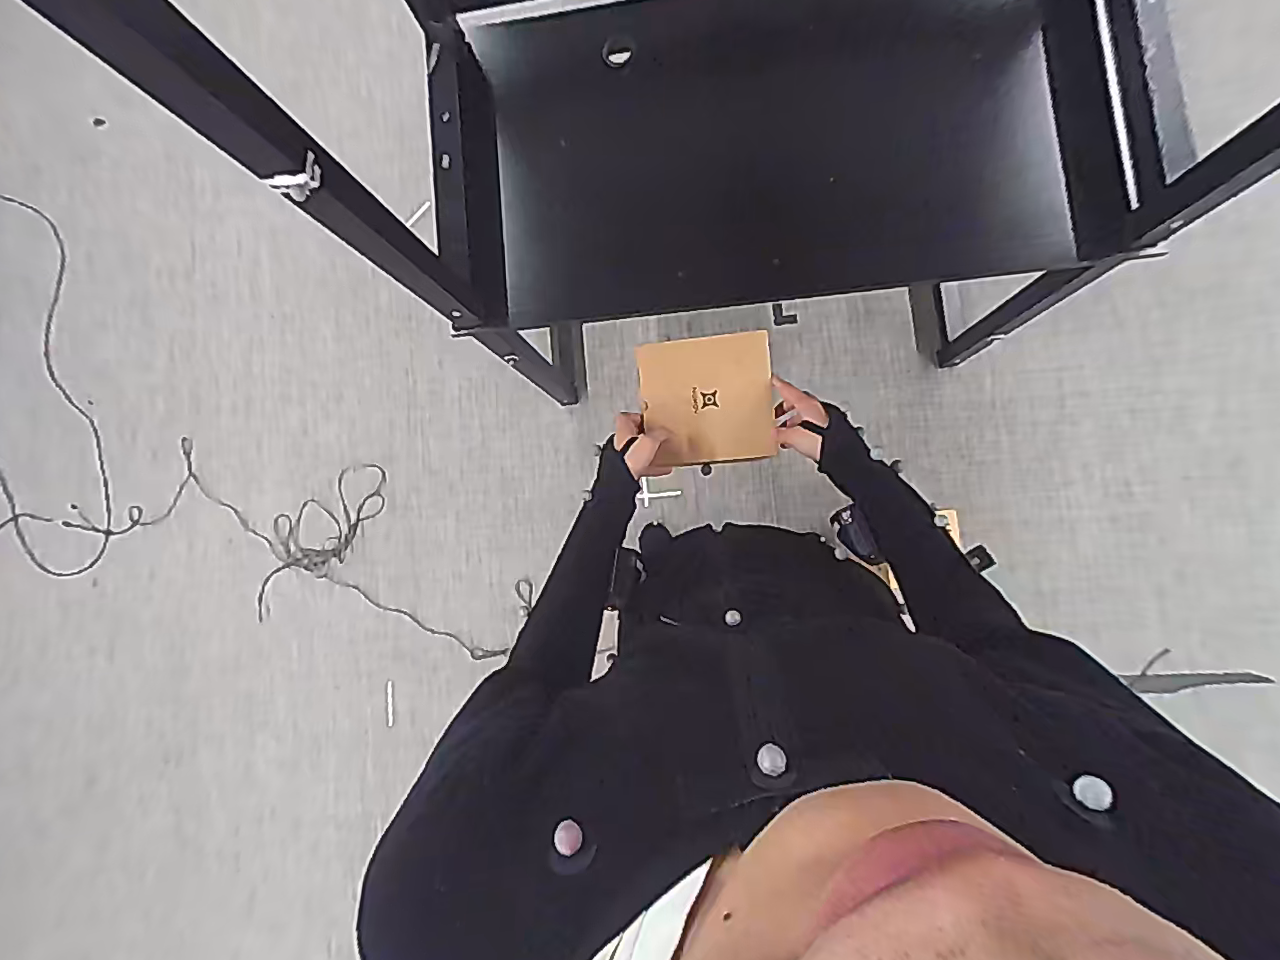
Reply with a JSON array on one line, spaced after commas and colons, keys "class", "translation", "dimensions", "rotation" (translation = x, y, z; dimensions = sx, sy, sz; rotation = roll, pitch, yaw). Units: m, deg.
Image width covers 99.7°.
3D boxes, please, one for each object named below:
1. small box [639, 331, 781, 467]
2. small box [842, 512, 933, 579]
[{"class": "small box", "translation": [0.100, -0.107, 0.781], "dimensions": [0.179, 0.176, 0.168], "rotation": [-5, 90, 8]}, {"class": "small box", "translation": [0.676, 0.176, 1.491], "dimensions": [0.179, 0.176, 0.168], "rotation": [-7, 85, 7]}]
